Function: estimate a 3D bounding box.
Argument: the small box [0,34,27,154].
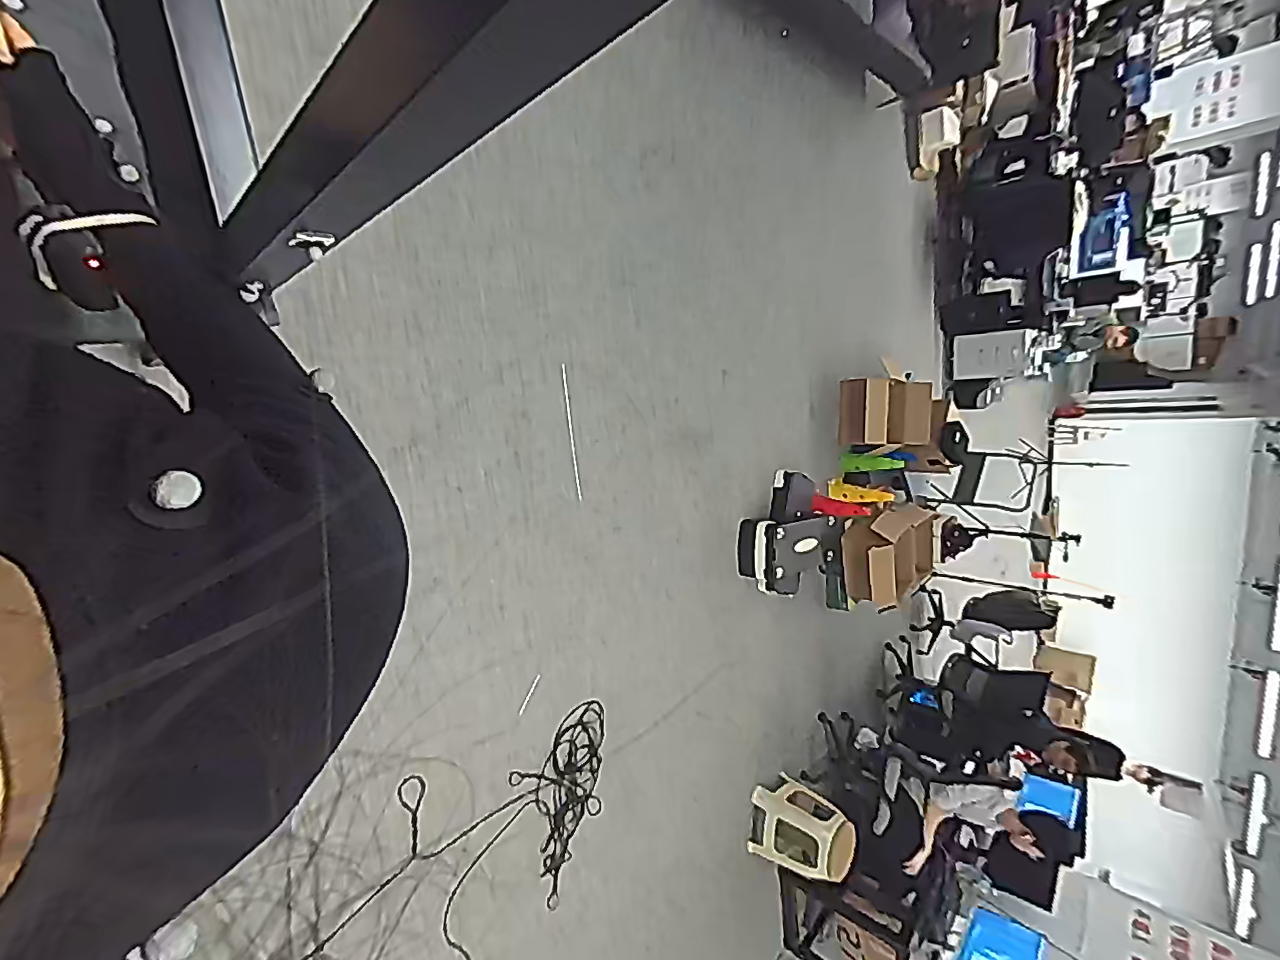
[{"bbox_3d":[-0.584,-0.366,0.383,0.168,0.176,0.179,-17,102,-44],"label":"small box"}]
